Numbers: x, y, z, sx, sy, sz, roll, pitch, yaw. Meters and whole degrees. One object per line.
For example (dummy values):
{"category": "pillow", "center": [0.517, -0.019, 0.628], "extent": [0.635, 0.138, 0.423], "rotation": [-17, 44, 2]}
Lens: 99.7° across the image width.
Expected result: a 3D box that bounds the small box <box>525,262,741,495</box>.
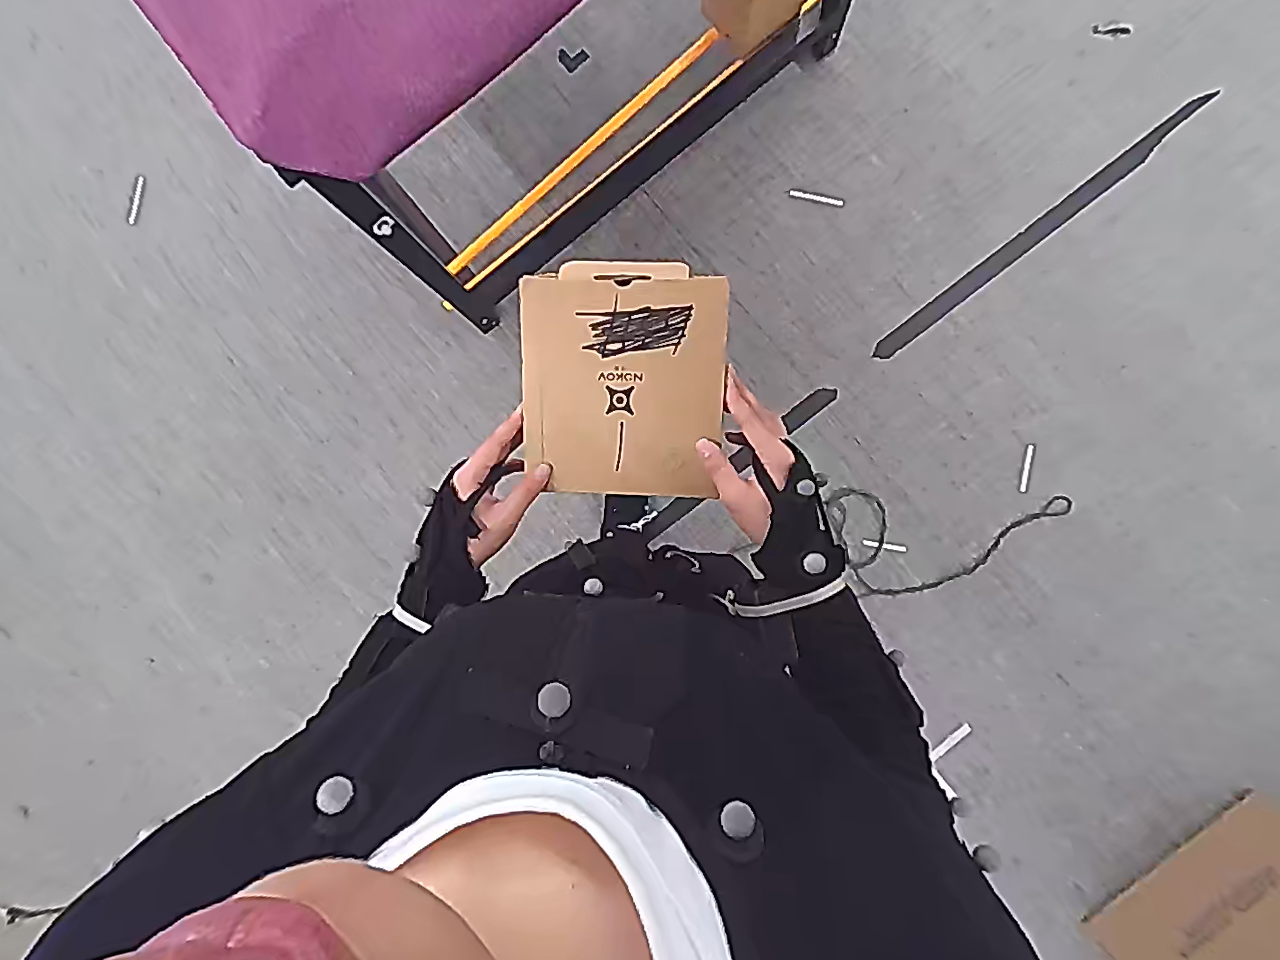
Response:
{"category": "small box", "center": [-0.003, -0.091, 0.505], "extent": [0.168, 0.176, 0.179], "rotation": [3, 101, 5]}
